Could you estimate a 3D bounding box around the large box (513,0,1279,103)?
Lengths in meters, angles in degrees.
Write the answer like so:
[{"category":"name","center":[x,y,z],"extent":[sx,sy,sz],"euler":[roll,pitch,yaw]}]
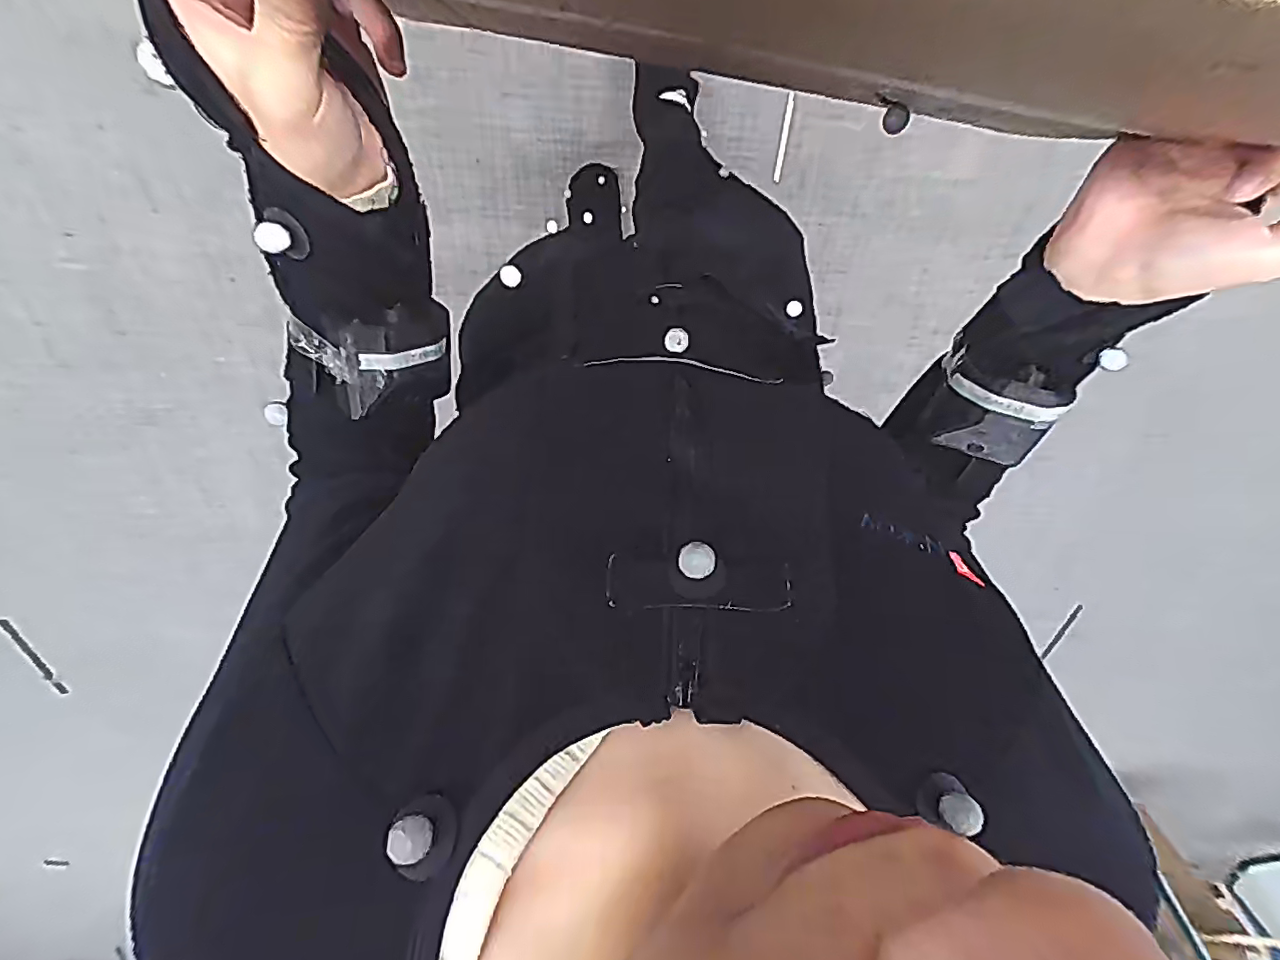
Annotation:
[{"category":"large box","center":[0.091,-0.310,0.123],"extent":[0.408,0.320,0.320],"euler":[4,125,-8]}]
